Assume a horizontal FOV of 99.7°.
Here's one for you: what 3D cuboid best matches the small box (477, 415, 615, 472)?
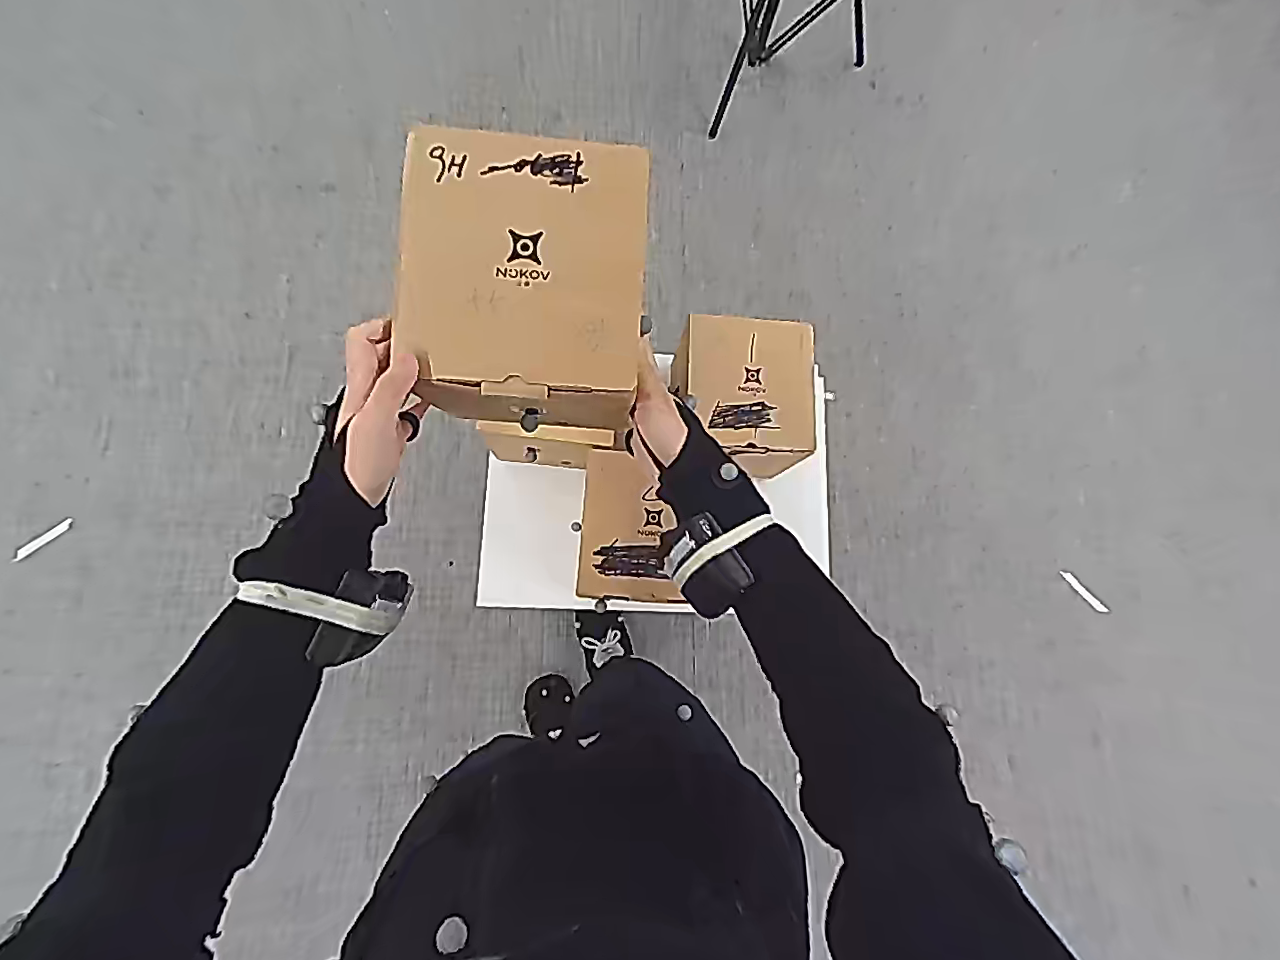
[{"bbox_3d":[-0.113,-0.114,0.739,0.168,0.176,0.179,6,78,-5],"label":"small box"}]

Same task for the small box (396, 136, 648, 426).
[{"bbox_3d":[-0.084,-0.144,0.453,0.168,0.176,0.179,3,87,-3],"label":"small box"}]
